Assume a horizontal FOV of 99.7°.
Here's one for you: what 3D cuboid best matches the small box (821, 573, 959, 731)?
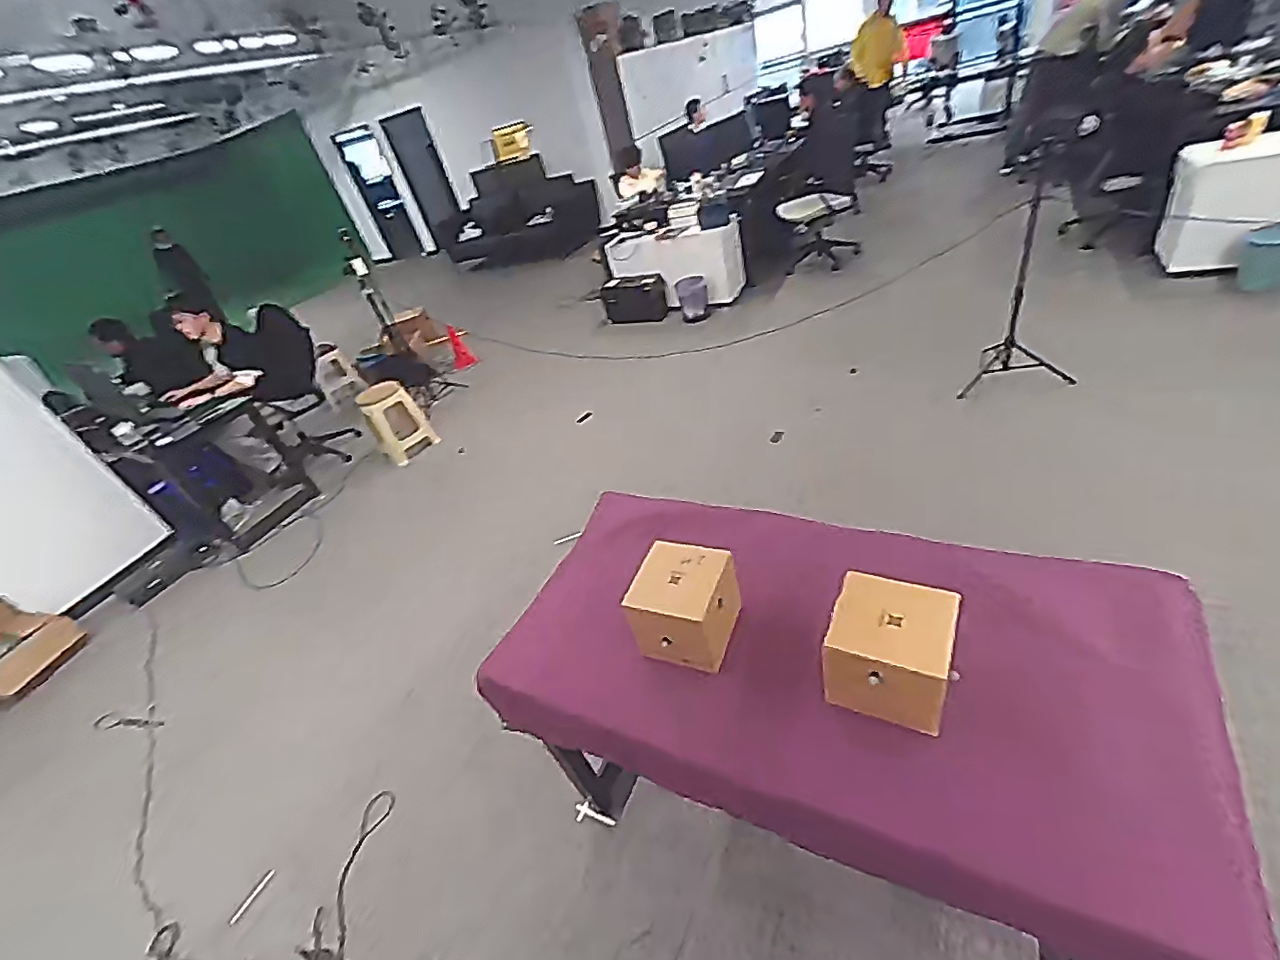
[{"bbox_3d":[0.416,0.287,0.902,0.179,0.176,0.168,8,43,32],"label":"small box"}]

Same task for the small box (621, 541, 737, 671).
[{"bbox_3d":[0.088,0.250,1.080,0.168,0.176,0.179,6,42,28],"label":"small box"}]
